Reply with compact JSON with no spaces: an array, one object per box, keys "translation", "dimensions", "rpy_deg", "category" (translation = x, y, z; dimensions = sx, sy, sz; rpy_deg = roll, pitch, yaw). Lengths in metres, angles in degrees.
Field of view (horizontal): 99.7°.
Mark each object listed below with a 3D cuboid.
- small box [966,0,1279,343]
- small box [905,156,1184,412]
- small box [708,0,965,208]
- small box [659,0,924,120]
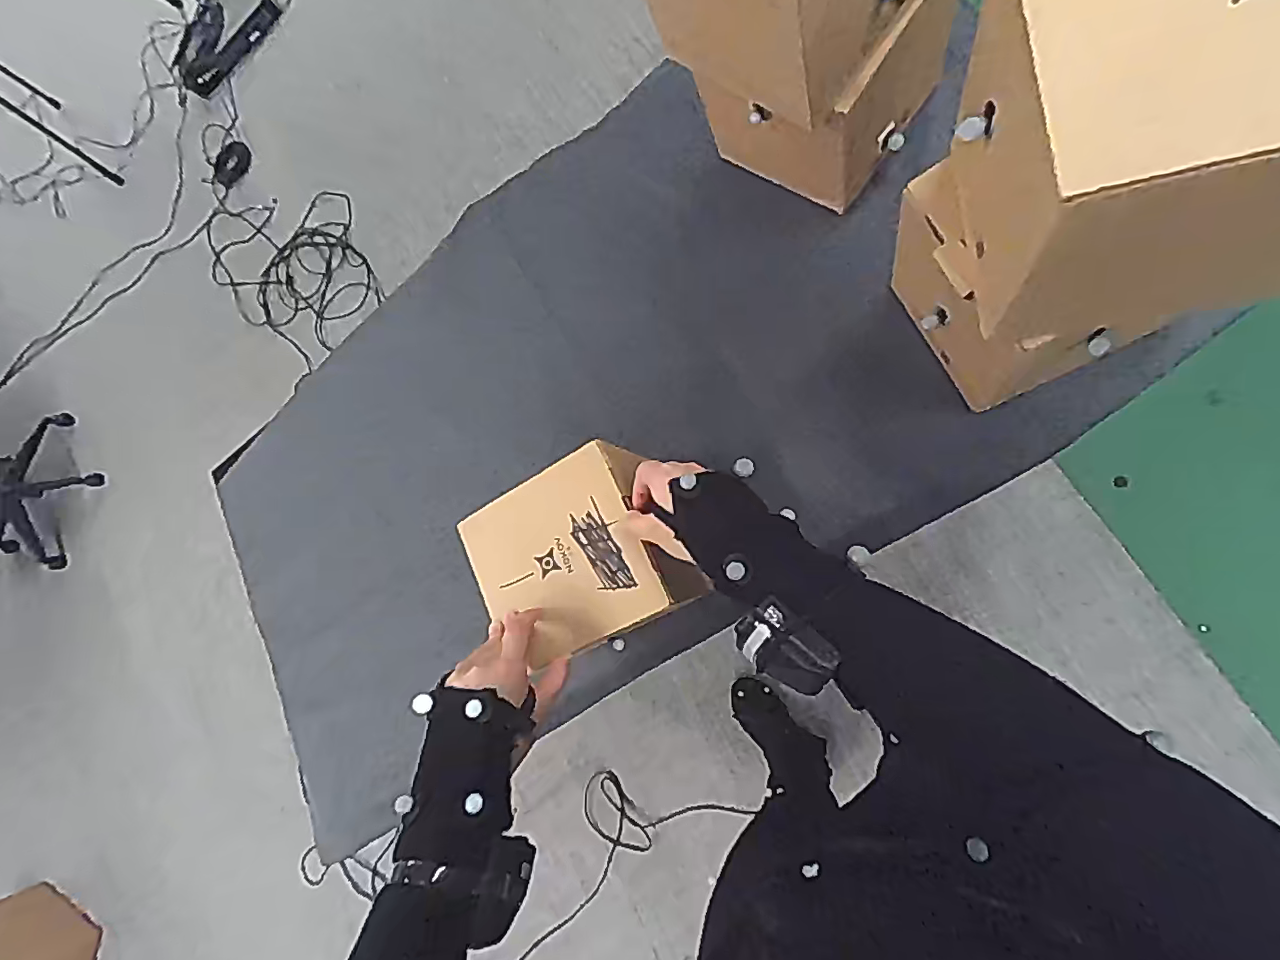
[{"translation":[0.292,-0.190,0.292],"dimensions":[0.179,0.176,0.168],"rpy_deg":[-6,80,21],"category":"small box"},{"translation":[0.343,-0.179,0.448],"dimensions":[0.179,0.176,0.168],"rpy_deg":[-28,72,17],"category":"small box"},{"translation":[0.185,-0.408,0.534],"dimensions":[0.179,0.176,0.168],"rpy_deg":[38,101,18],"category":"small box"},{"translation":[0.109,-0.408,0.386],"dimensions":[0.179,0.176,0.168],"rpy_deg":[42,103,19],"category":"small box"}]
